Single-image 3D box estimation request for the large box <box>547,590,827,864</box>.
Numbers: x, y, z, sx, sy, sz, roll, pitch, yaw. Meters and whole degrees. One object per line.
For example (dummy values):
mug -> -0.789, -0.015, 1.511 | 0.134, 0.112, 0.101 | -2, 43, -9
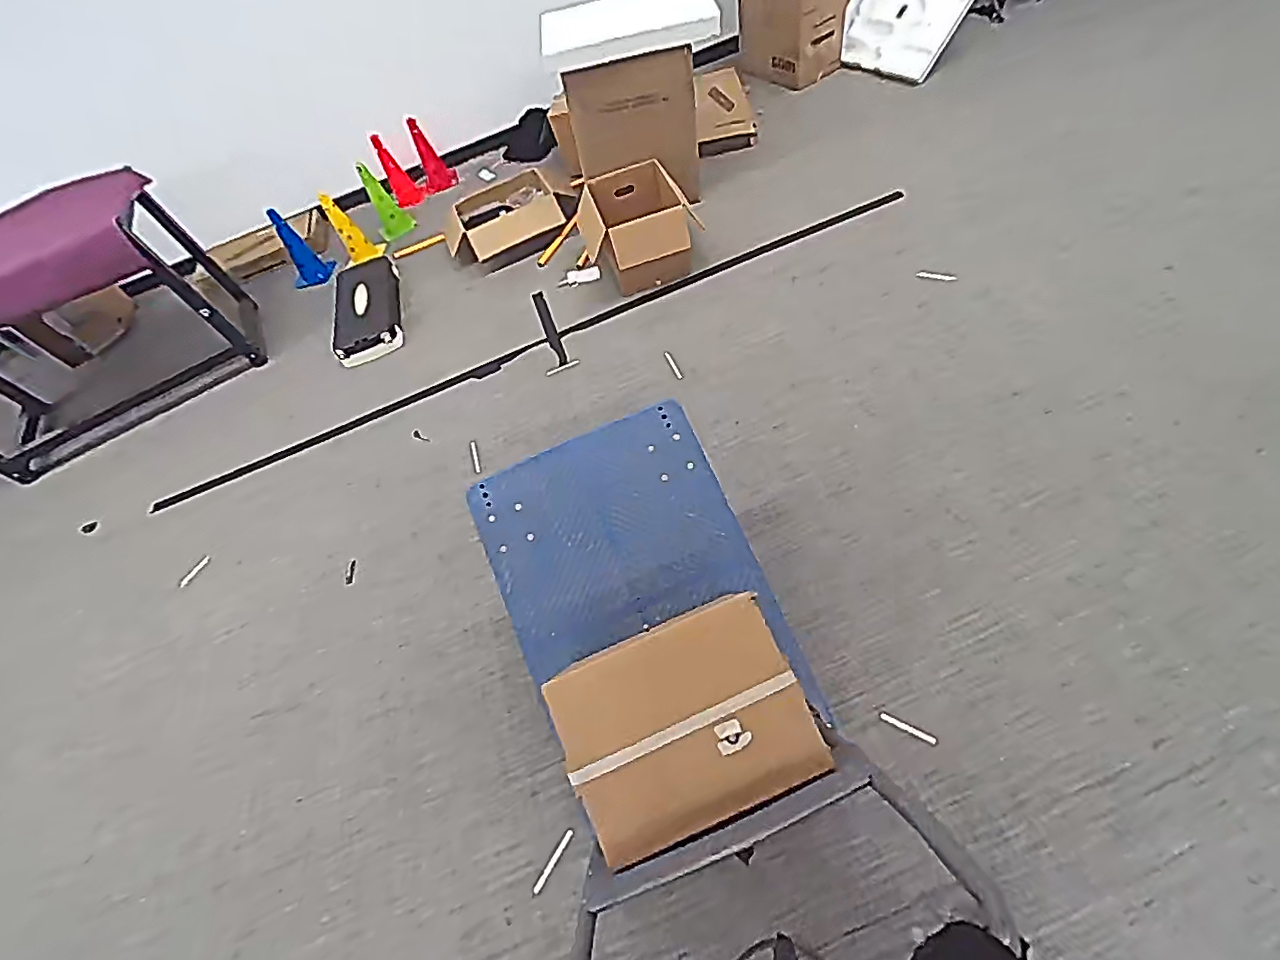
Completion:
large box -> 0.080, 0.449, 1.073 | 0.408, 0.320, 0.320 | -24, 78, -4
